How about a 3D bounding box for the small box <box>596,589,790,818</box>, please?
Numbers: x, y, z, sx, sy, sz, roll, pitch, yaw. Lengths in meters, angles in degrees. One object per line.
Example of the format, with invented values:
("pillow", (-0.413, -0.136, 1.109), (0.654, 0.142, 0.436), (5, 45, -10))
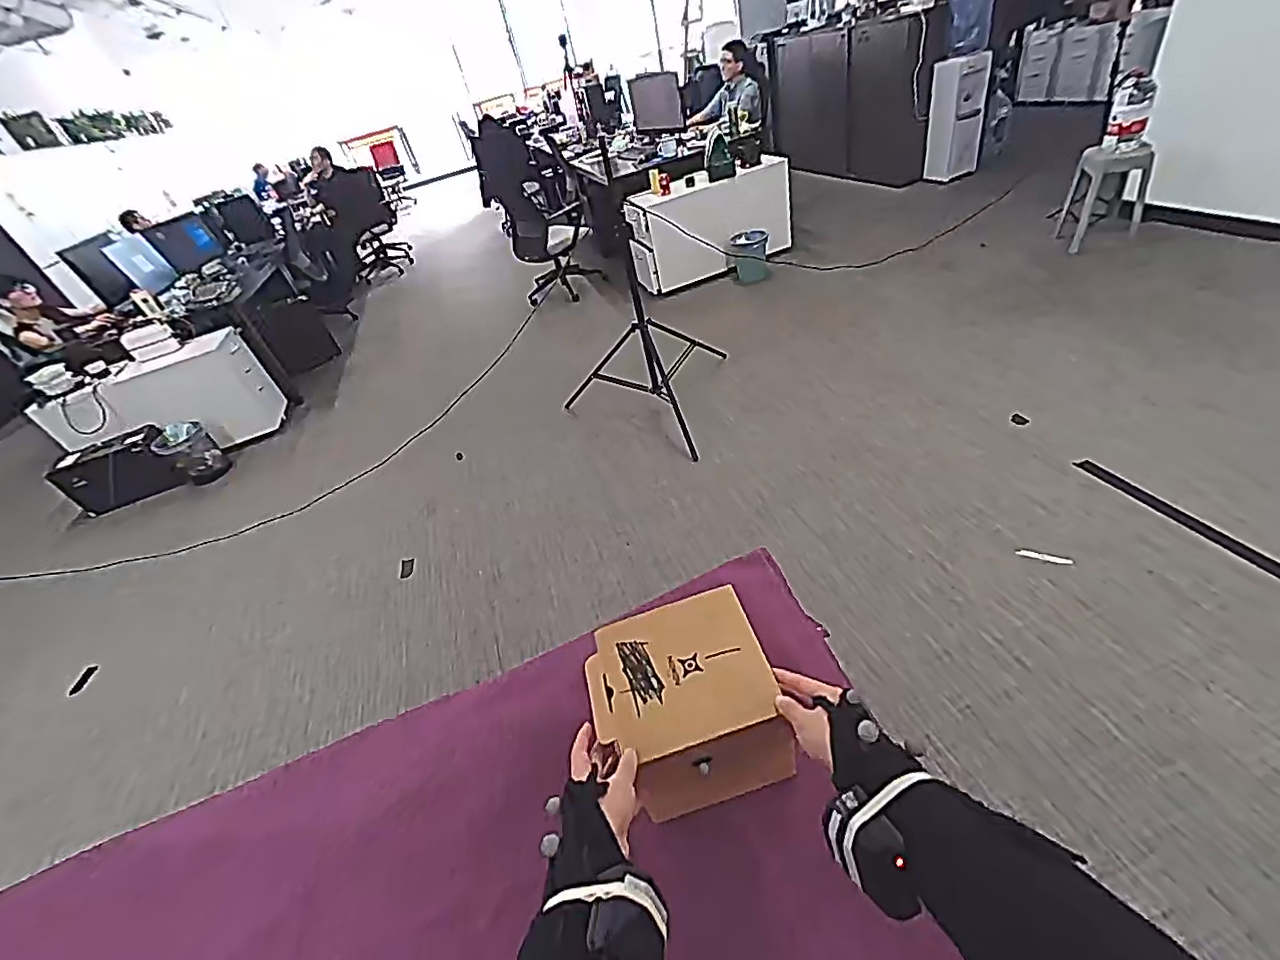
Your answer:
("small box", (0.064, 0.265, 0.637), (0.179, 0.176, 0.168), (-18, 41, -3))
